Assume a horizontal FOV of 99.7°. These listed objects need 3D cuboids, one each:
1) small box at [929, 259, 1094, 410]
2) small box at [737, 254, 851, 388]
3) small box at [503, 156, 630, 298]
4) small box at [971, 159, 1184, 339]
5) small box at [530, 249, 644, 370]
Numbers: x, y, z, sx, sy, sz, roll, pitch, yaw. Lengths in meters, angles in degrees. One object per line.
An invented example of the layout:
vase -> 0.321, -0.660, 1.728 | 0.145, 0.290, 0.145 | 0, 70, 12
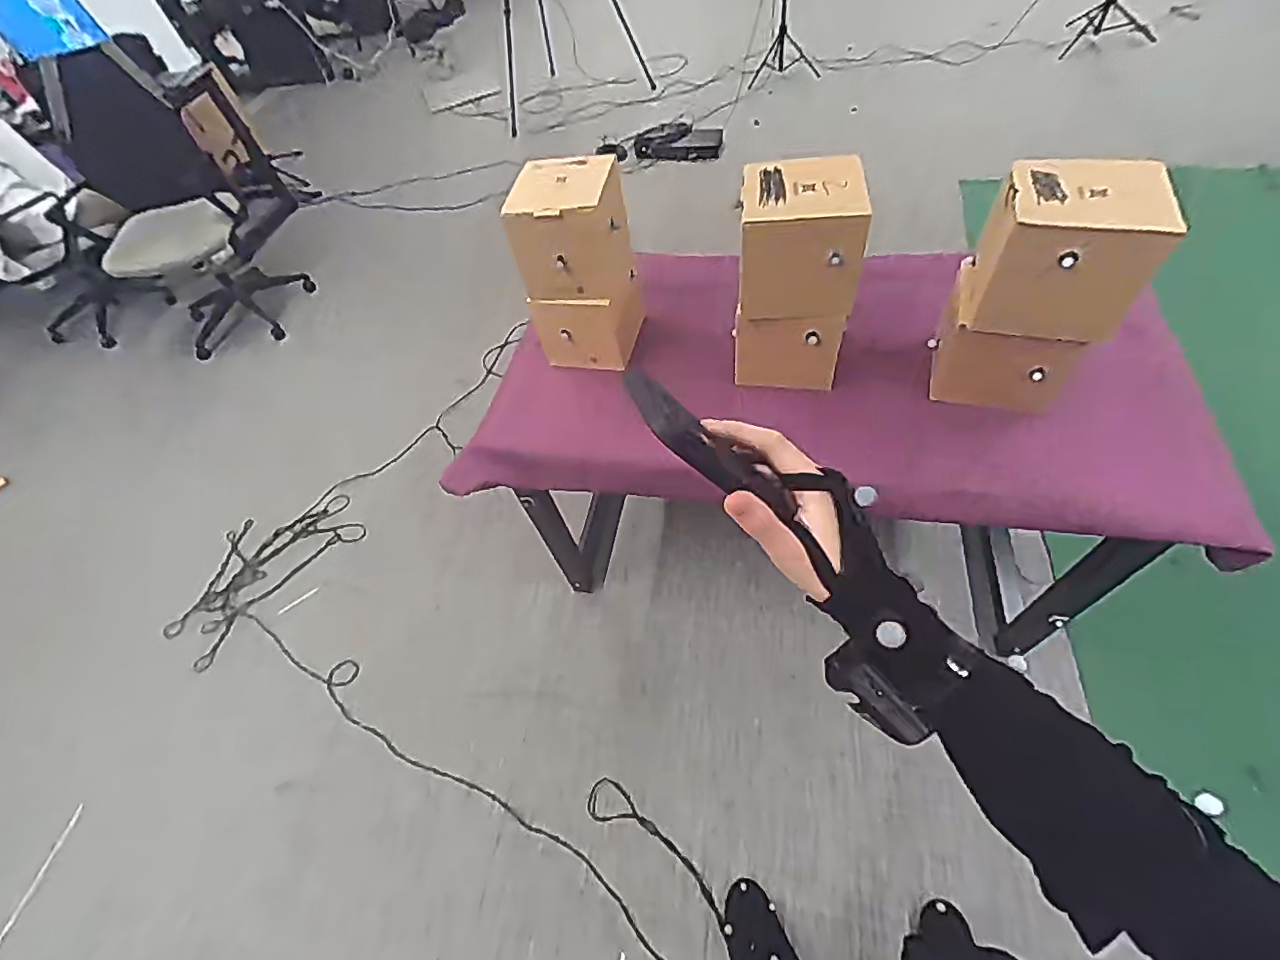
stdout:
small box -> 0.599, -0.235, 0.889 | 0.179, 0.176, 0.168 | 12, 58, 19
small box -> 0.274, -0.284, 0.981 | 0.179, 0.176, 0.168 | 6, 56, 15
small box -> -0.119, -0.442, 0.964 | 0.168, 0.176, 0.179 | 3, 56, 12
small box -> 0.579, -0.316, 0.747 | 0.179, 0.176, 0.168 | 12, 58, 17
small box -> -0.096, -0.342, 1.093 | 0.168, 0.176, 0.179 | 7, 57, 15
